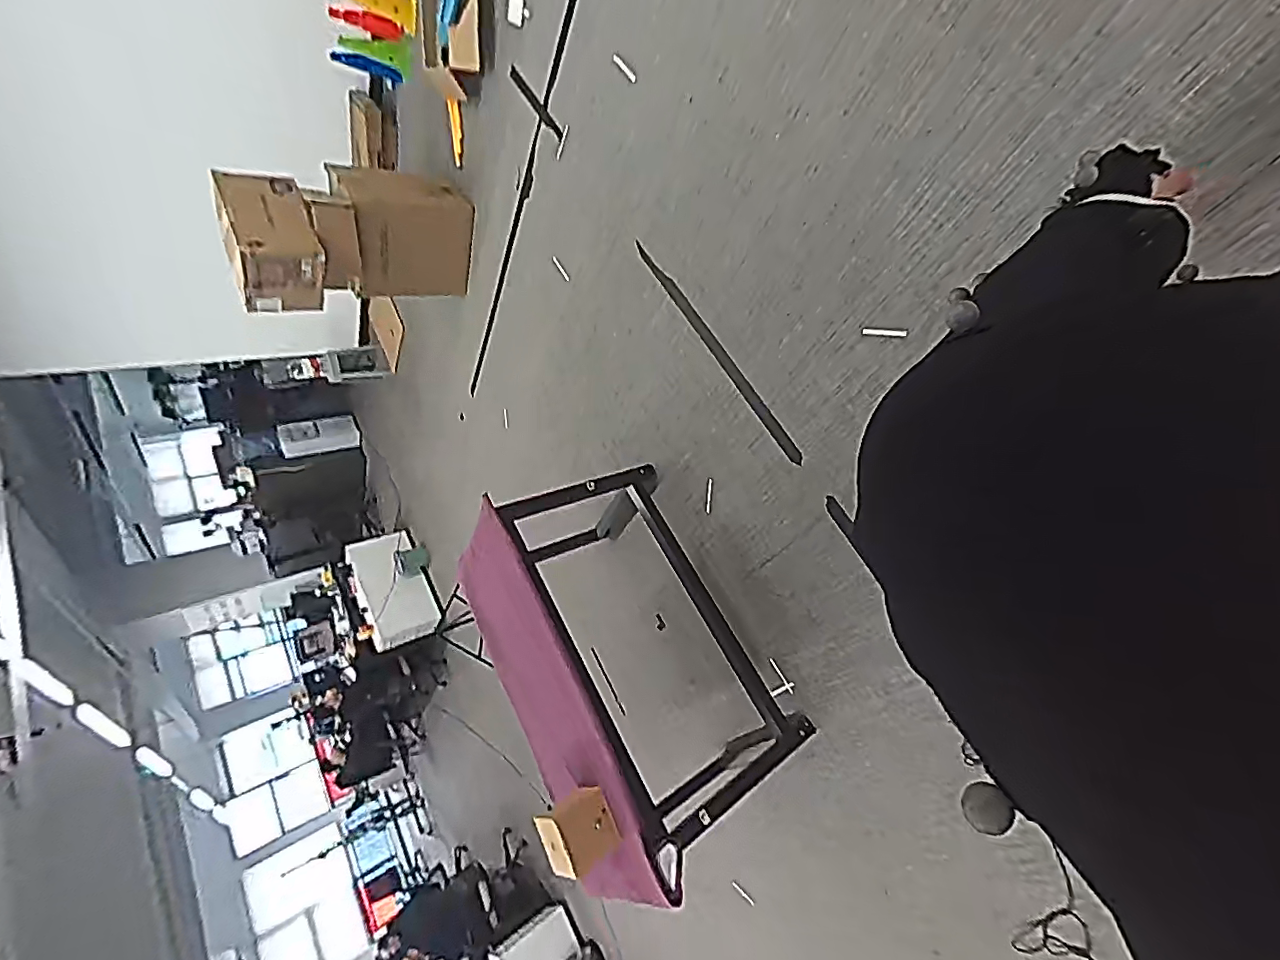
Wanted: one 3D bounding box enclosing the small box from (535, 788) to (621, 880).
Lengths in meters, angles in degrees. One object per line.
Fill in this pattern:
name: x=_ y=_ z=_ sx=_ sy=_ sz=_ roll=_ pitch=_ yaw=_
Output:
small box: x=-0.183 y=1.045 z=1.611 sx=0.179 sy=0.176 sz=0.168 roll=-43 pitch=68 yaw=49
